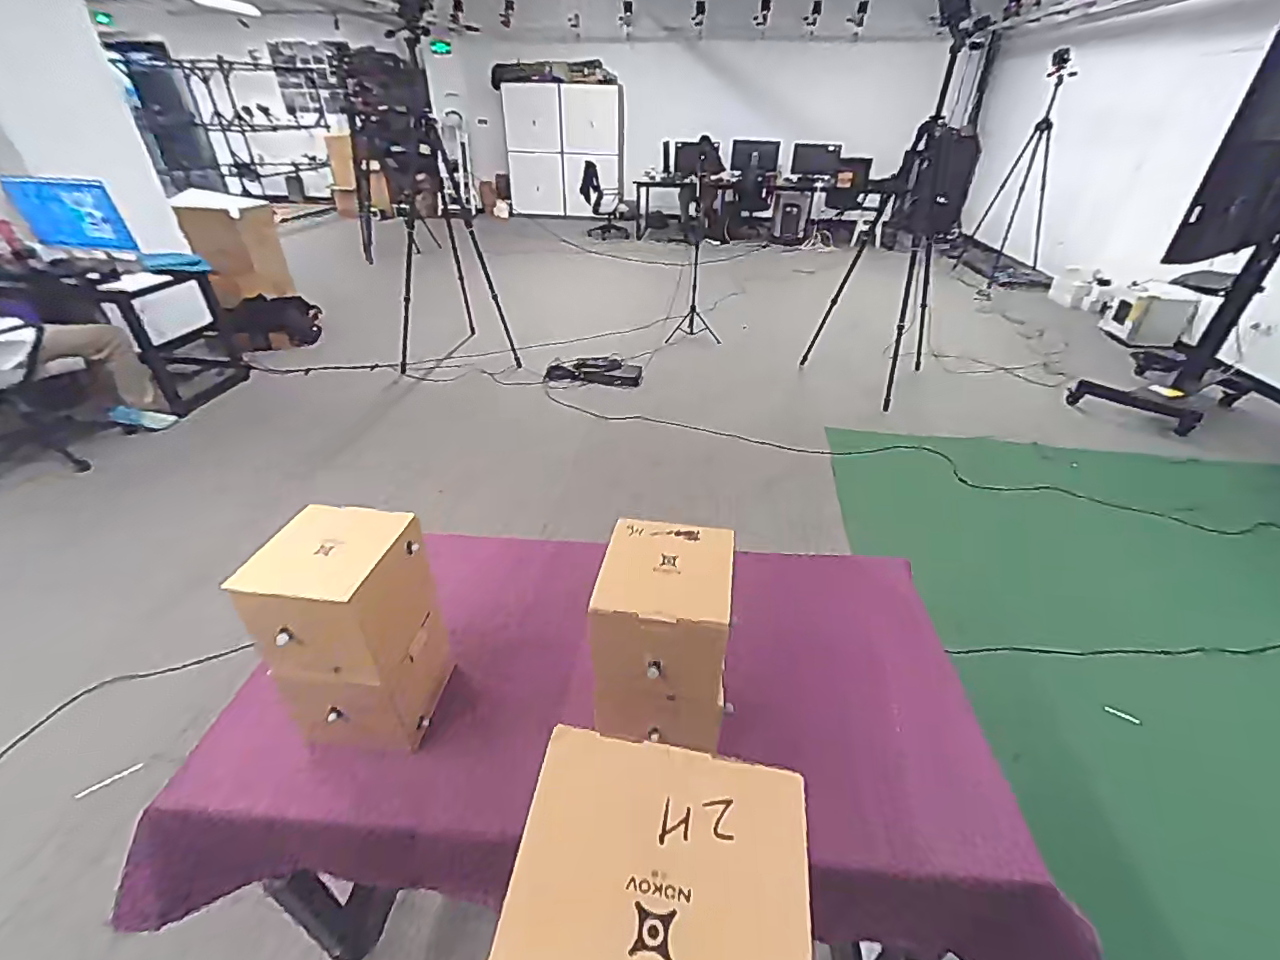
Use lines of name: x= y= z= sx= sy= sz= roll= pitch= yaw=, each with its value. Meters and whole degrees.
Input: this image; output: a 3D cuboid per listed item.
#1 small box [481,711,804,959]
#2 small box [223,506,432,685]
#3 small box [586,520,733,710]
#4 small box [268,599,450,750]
small box: x=0.003 y=0.285 z=0.353 sx=0.168 sy=0.176 sz=0.179 roll=10 pitch=45 yaw=5
small box: x=-0.411 y=0.158 z=0.753 sx=0.168 sy=0.176 sz=0.179 roll=5 pitch=33 yaw=5
small box: x=0.032 y=0.180 z=0.730 sx=0.168 sy=0.176 sz=0.179 roll=6 pitch=35 yaw=8
small box: x=-0.417 y=0.294 z=0.842 sx=0.179 sy=0.176 sz=0.168 roll=4 pitch=34 yaw=4
